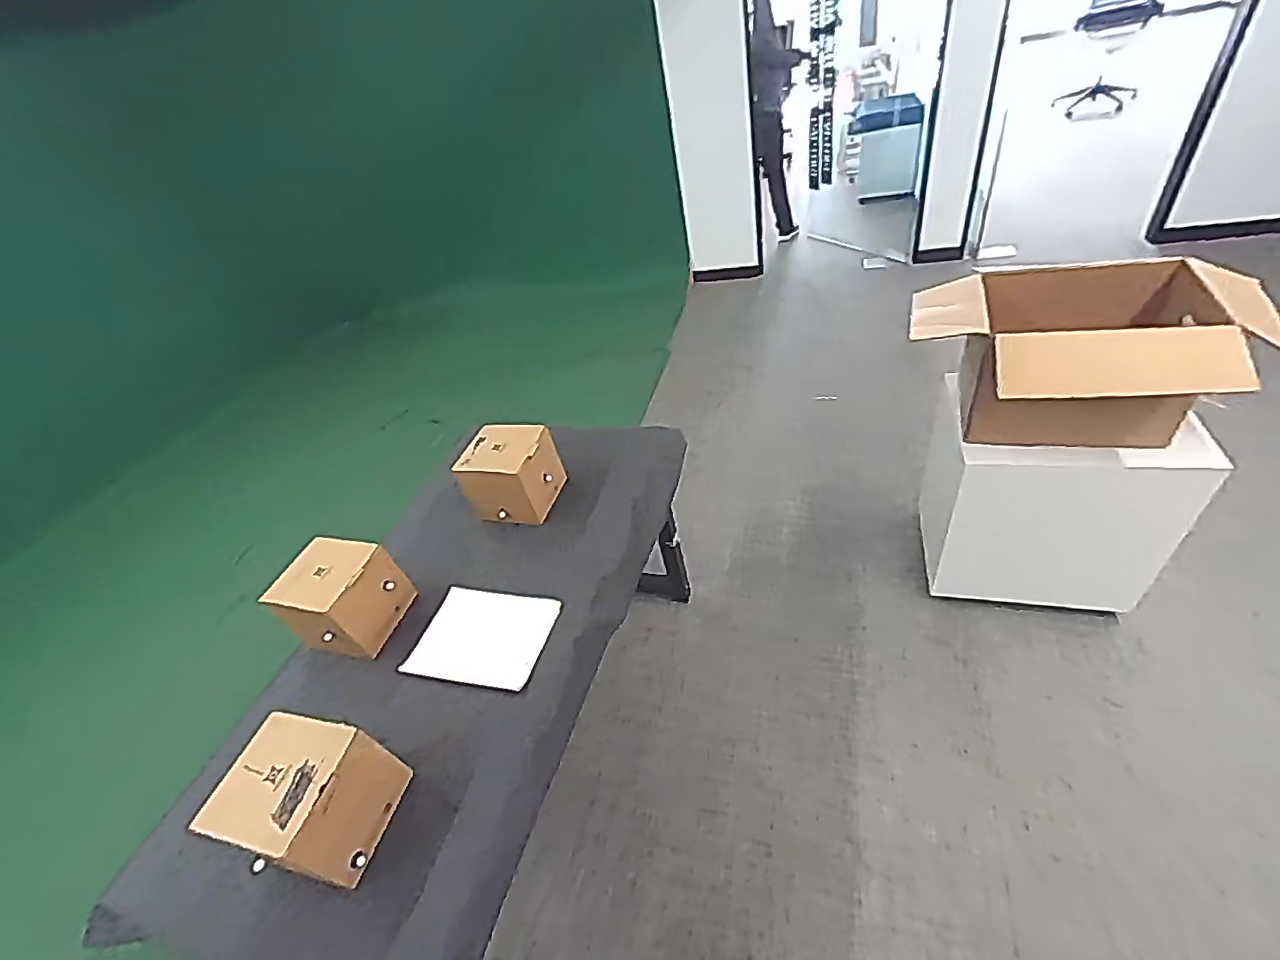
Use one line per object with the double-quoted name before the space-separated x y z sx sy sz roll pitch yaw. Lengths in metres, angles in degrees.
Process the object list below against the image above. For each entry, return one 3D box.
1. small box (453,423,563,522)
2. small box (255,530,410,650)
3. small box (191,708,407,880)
"small box" -0.303 -0.016 1.289 0.179 0.176 0.168 4 45 19
"small box" -0.606 0.224 1.094 0.179 0.176 0.168 2 43 19
"small box" -0.491 0.471 0.811 0.179 0.176 0.168 2 43 18
